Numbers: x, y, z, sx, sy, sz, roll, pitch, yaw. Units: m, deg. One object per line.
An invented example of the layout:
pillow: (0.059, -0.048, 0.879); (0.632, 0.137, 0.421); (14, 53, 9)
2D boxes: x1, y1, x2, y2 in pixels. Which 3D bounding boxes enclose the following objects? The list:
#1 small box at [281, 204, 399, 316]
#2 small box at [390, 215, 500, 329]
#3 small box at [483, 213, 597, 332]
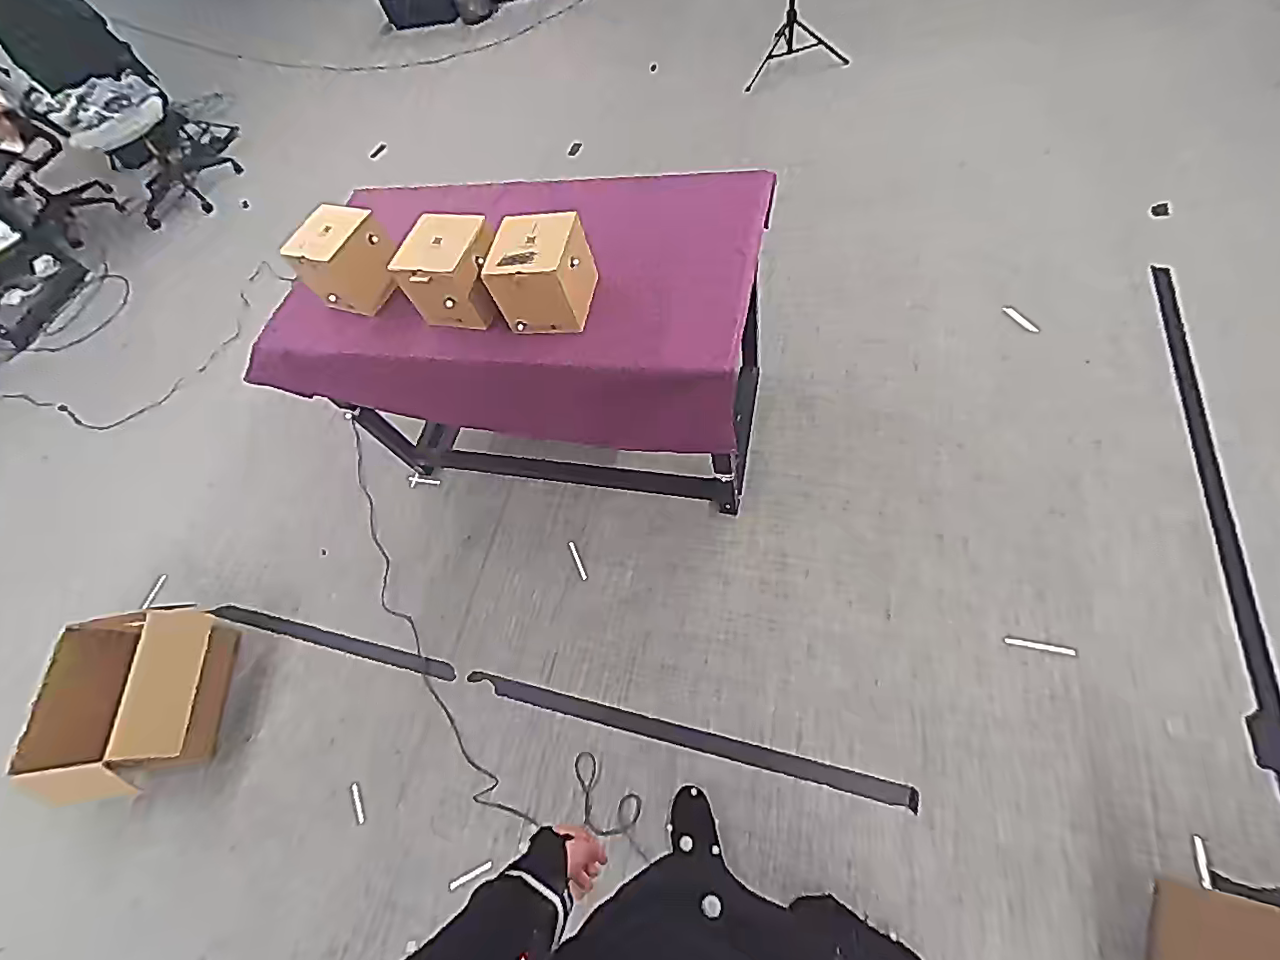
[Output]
small box: (-0.703, -0.532, 1.312); (0.168, 0.176, 0.179); (17, 68, 21)
small box: (-0.410, -0.463, 1.212); (0.168, 0.176, 0.179); (11, 65, 17)
small box: (-0.201, -0.432, 1.147); (0.168, 0.176, 0.179); (4, 62, 15)
